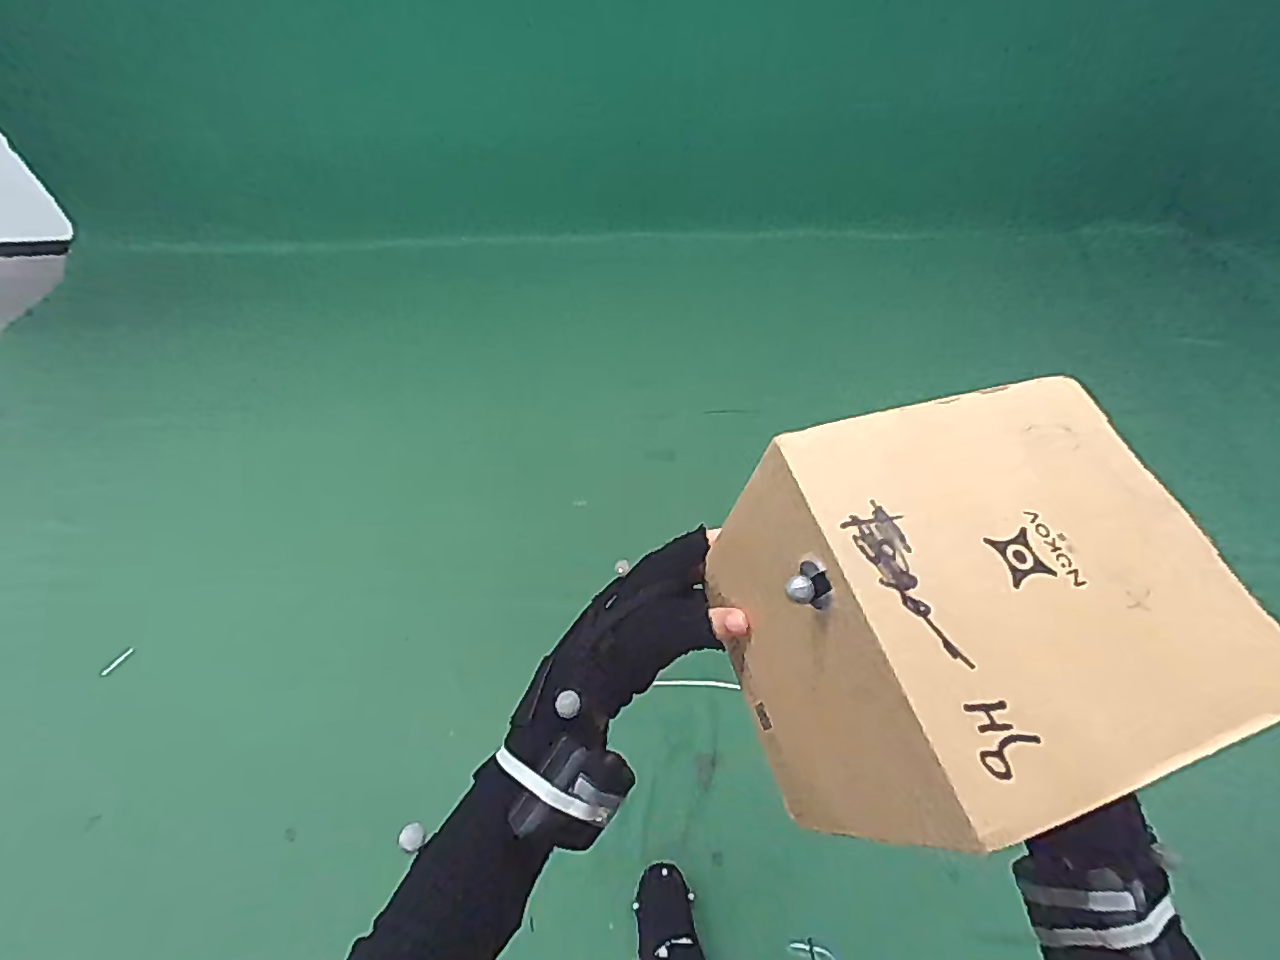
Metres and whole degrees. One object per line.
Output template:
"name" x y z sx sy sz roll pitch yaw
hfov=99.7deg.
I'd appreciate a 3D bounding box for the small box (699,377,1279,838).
"small box" 0.153 0.069 0.295 0.179 0.176 0.168 -11 62 -16
